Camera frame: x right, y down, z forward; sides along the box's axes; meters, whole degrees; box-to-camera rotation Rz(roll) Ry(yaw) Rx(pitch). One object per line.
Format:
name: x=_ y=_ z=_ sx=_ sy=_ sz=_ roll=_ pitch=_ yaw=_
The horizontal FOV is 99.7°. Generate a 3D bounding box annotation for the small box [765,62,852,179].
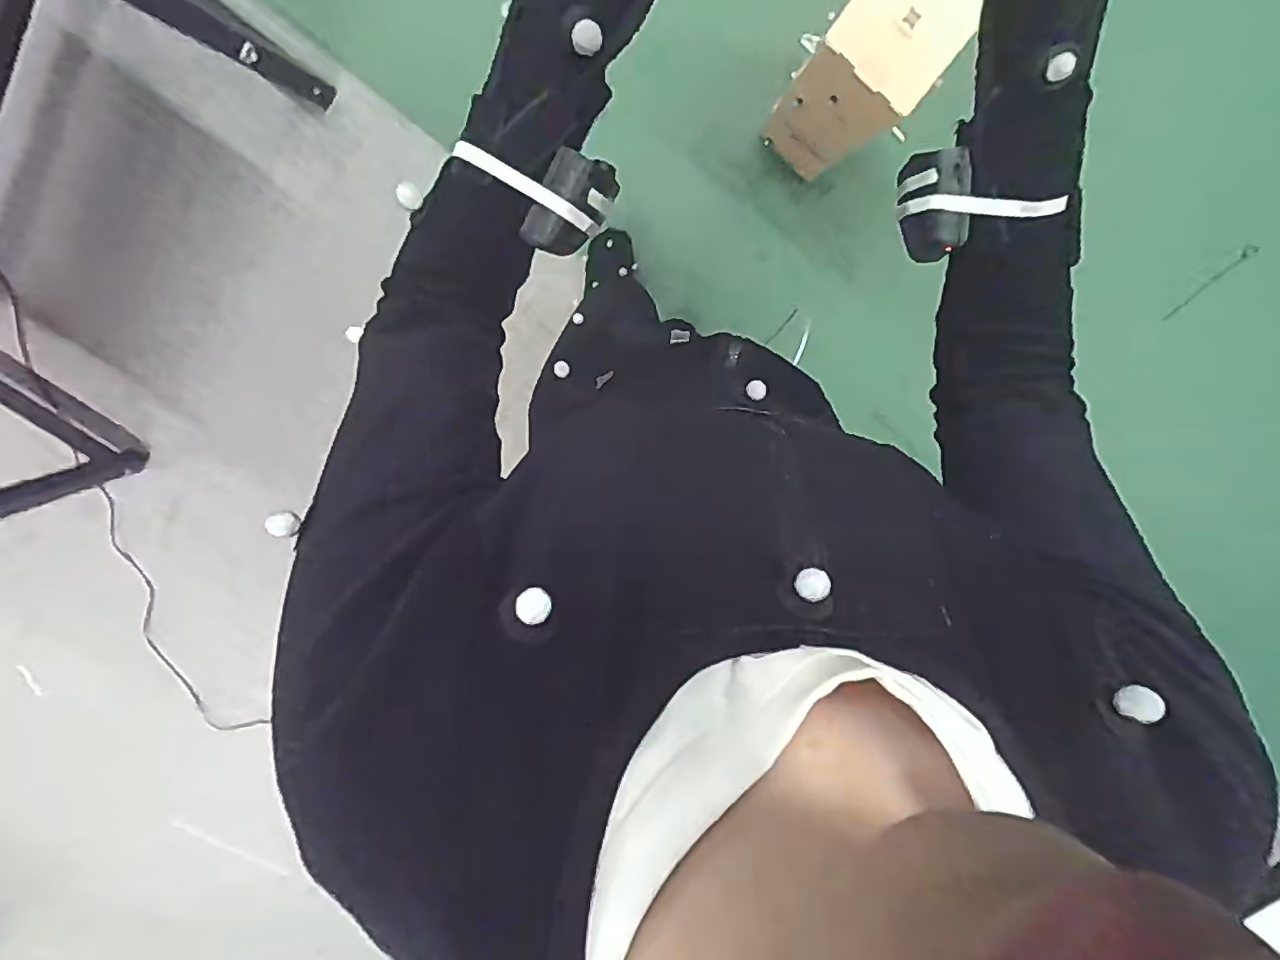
small box: x=0.384 y=-0.777 z=1.146 sx=0.168 sy=0.176 sz=0.179 roll=38 pitch=106 yaw=-11

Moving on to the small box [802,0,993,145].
small box: x=0.380 y=-0.667 z=0.837 sx=0.168 sy=0.176 sz=0.179 roll=36 pitch=106 yaw=-11
